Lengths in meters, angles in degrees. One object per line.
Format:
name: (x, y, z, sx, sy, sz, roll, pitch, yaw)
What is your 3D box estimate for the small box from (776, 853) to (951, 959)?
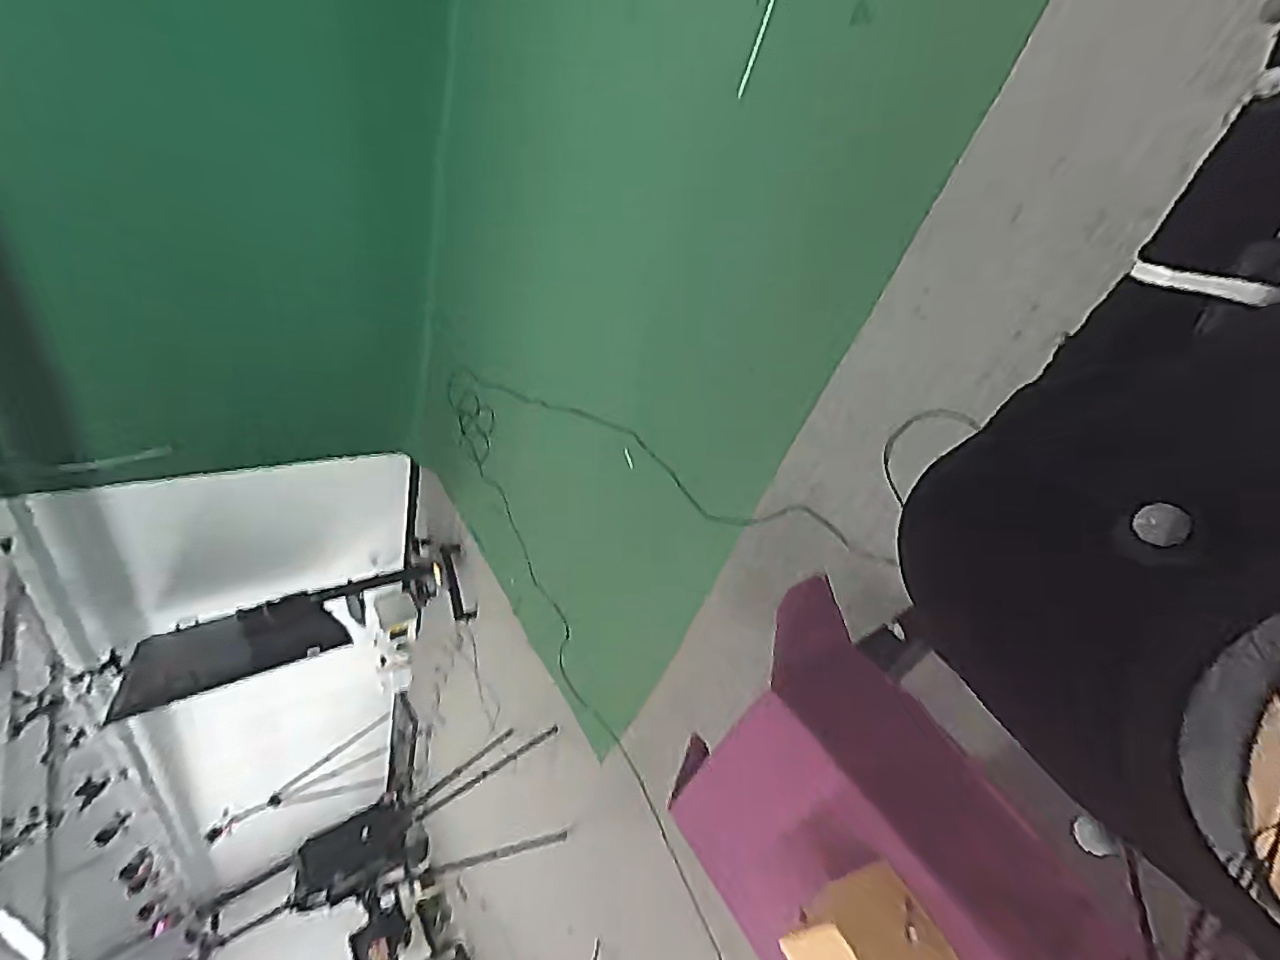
small box: (0.371, 0.768, 0.901, 0.168, 0.176, 0.179, 53, 136, 28)
